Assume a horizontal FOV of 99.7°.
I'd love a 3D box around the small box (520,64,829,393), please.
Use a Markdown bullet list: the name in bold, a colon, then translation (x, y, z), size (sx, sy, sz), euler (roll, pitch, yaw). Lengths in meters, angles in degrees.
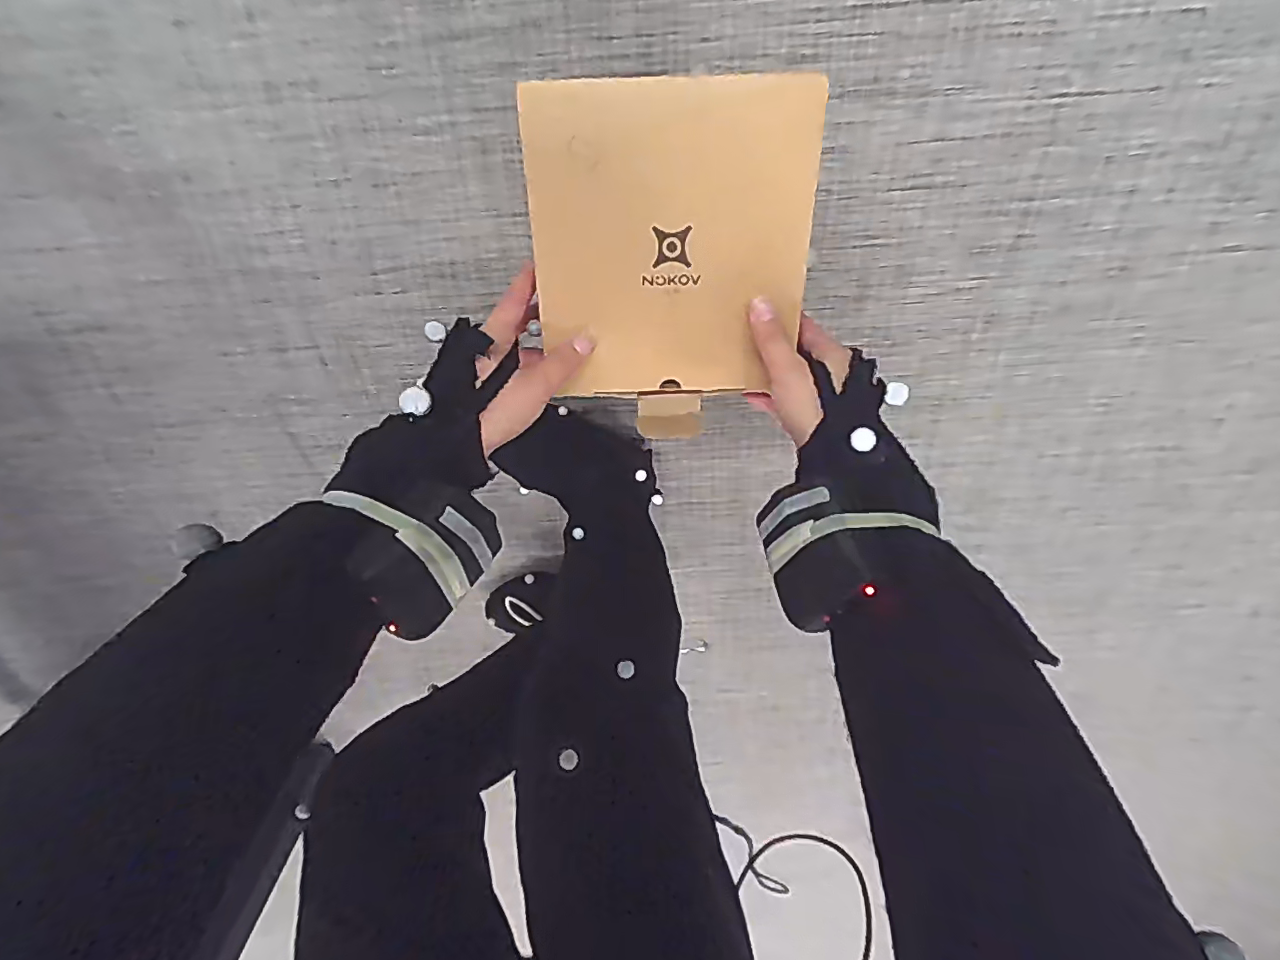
- **small box**: translation (0.016, -0.173, 0.387), size (0.168, 0.176, 0.179), euler (-2, 120, -1)
